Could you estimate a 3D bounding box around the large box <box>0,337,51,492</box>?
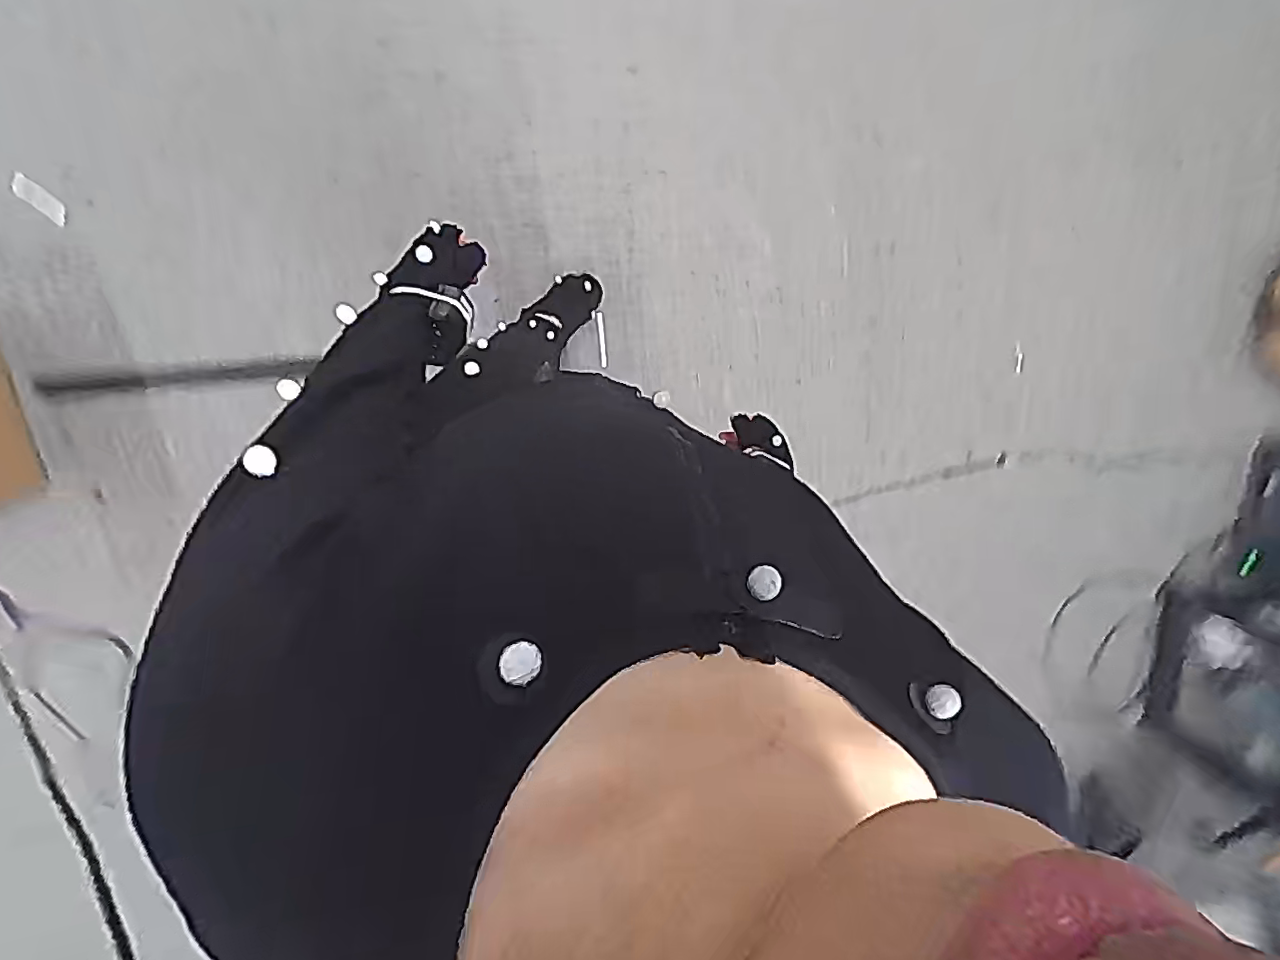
[{"bbox_3d":[-1.528,-0.143,1.066,0.320,0.320,0.408,-7,106,-8],"label":"large box"}]
